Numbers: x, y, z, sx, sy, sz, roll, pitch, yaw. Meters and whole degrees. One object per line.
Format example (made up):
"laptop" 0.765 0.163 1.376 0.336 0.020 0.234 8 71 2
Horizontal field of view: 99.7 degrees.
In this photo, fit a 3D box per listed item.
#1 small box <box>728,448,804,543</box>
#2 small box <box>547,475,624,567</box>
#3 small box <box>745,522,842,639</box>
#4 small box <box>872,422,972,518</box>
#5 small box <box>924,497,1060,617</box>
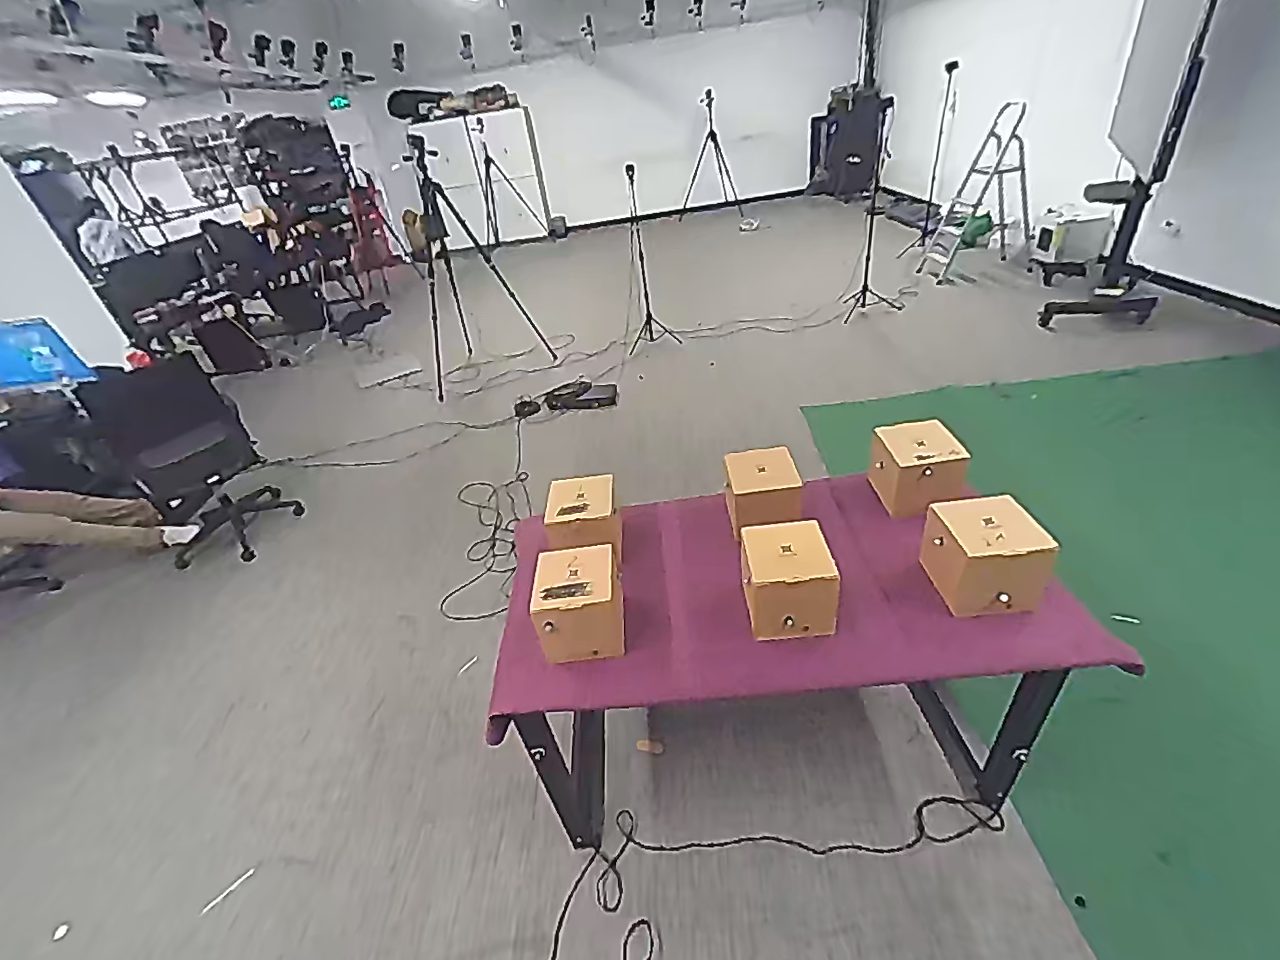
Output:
"small box" 0.319 0.041 1.397 0.168 0.176 0.179 -7 36 5
"small box" -0.133 0.110 1.400 0.168 0.176 0.179 -6 35 4
"small box" 0.316 0.214 1.151 0.168 0.176 0.179 -6 34 4
"small box" 0.712 -0.025 1.389 0.168 0.176 0.179 -9 36 5
"small box" 0.716 0.159 1.125 0.168 0.176 0.179 -7 33 6
